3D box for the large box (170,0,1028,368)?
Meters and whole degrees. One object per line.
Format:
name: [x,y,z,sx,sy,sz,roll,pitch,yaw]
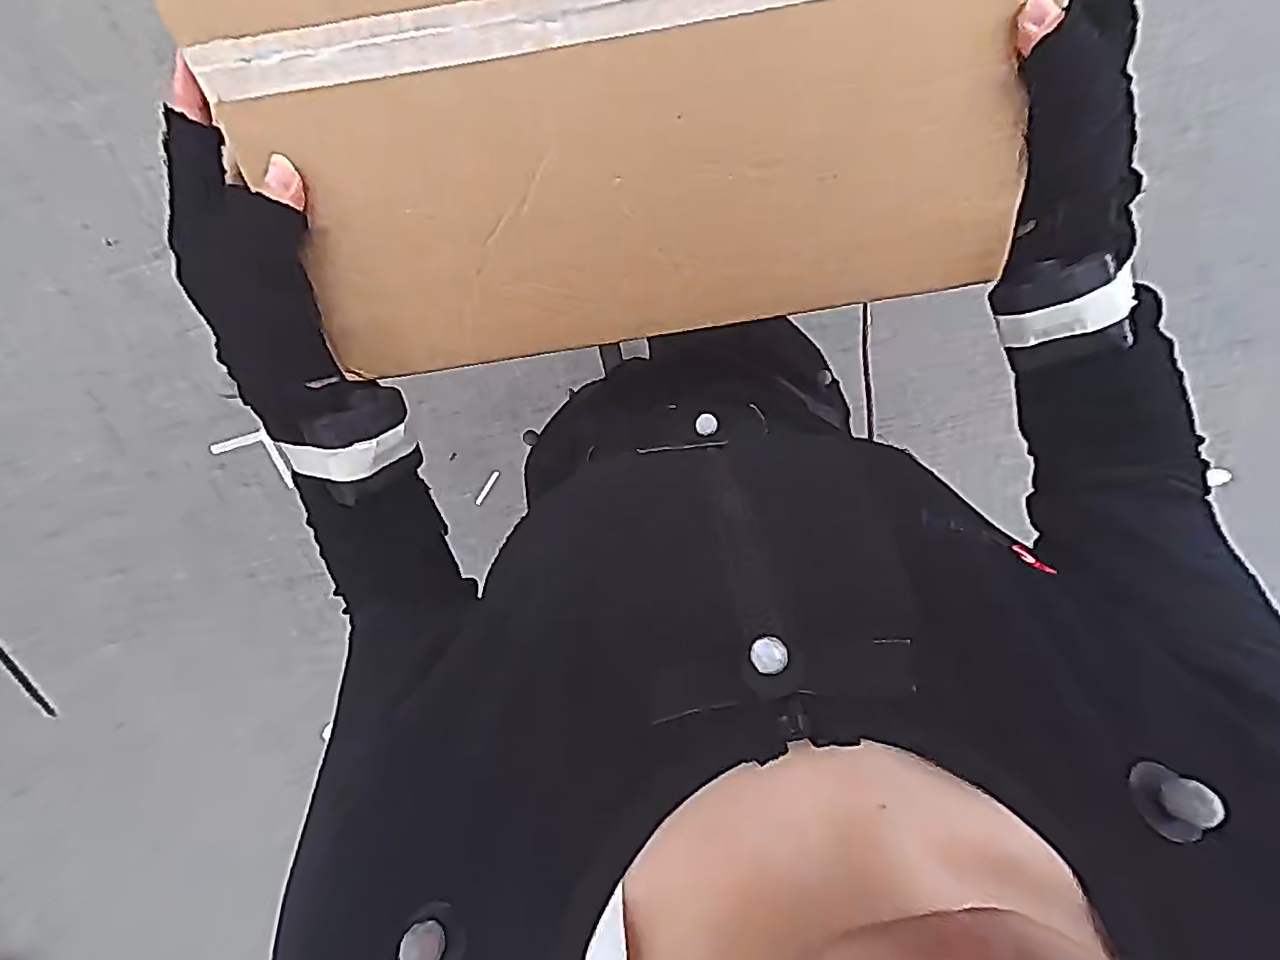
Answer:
large box: [-0.020,-0.310,0.370,0.408,0.320,0.320,-9,125,0]
